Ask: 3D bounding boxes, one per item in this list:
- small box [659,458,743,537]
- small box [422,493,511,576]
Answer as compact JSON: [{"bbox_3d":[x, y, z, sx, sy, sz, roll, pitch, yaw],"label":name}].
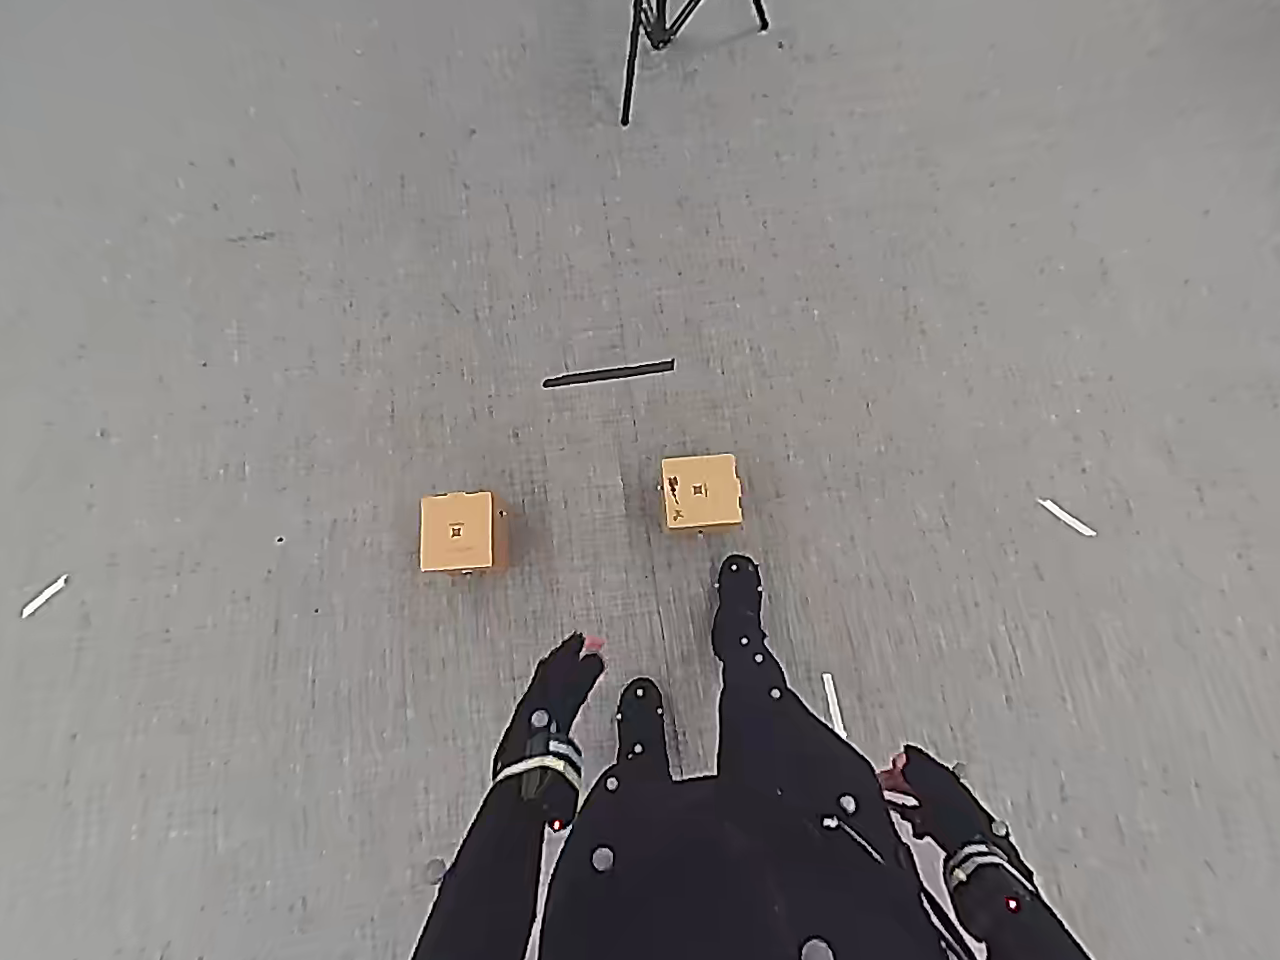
[{"bbox_3d":[0.142,0.048,1.327,0.179,0.176,0.168,-4,78,-2],"label":"small box"},{"bbox_3d":[-0.414,0.136,1.311,0.168,0.176,0.179,-5,79,1],"label":"small box"}]
